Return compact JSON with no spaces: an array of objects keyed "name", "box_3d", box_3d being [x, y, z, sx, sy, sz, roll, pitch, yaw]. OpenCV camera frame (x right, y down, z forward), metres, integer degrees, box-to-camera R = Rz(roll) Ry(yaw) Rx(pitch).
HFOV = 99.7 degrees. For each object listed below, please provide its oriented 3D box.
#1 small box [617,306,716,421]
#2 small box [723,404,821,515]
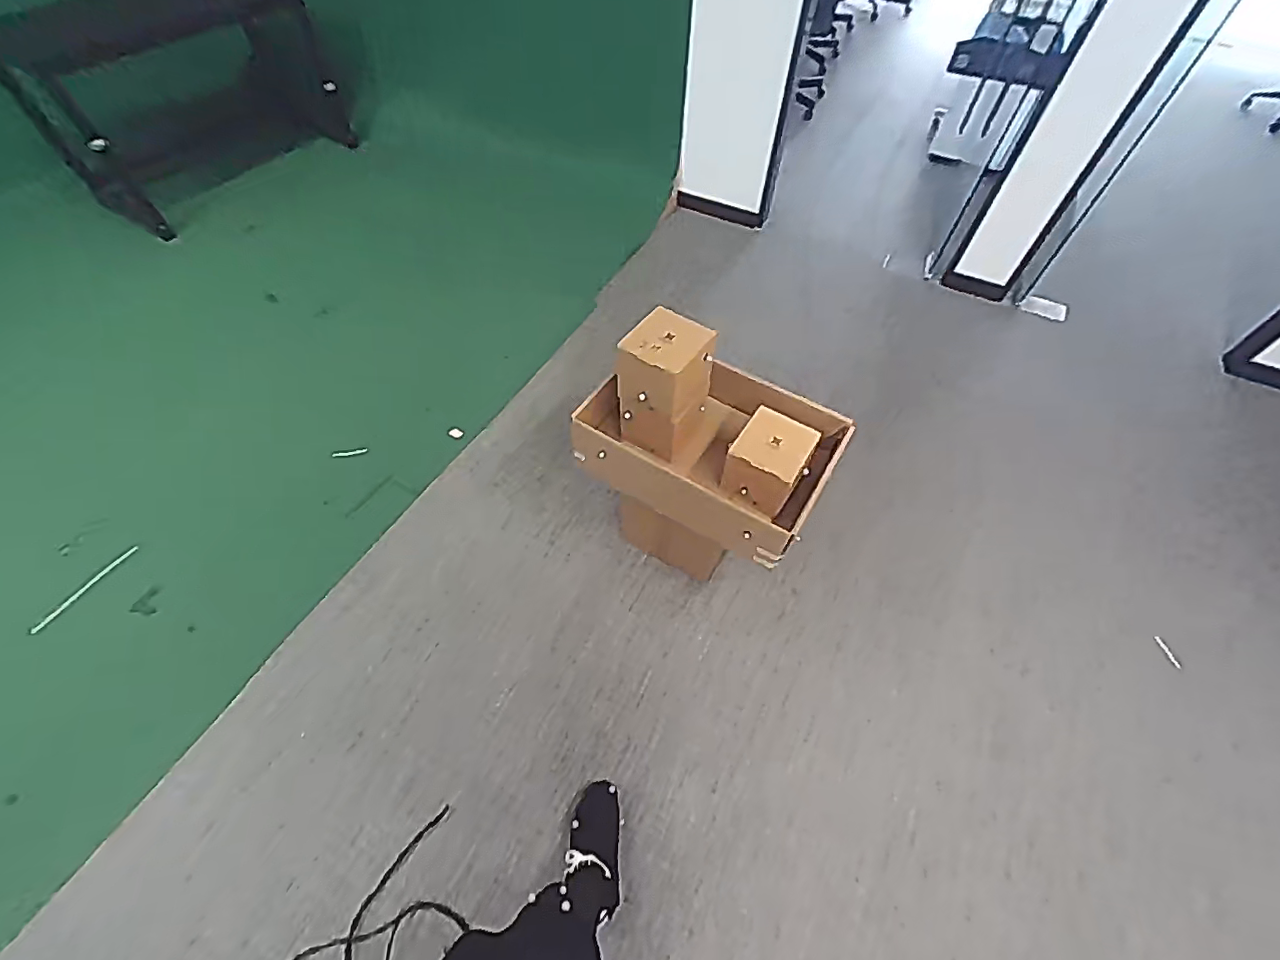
[{"name":"small box","box_3d":[0.059,-0.276,1.296,0.168,0.176,0.179,30,61,19]},{"name":"small box","box_3d":[0.320,-0.048,1.345,0.168,0.176,0.179,29,61,17]}]
